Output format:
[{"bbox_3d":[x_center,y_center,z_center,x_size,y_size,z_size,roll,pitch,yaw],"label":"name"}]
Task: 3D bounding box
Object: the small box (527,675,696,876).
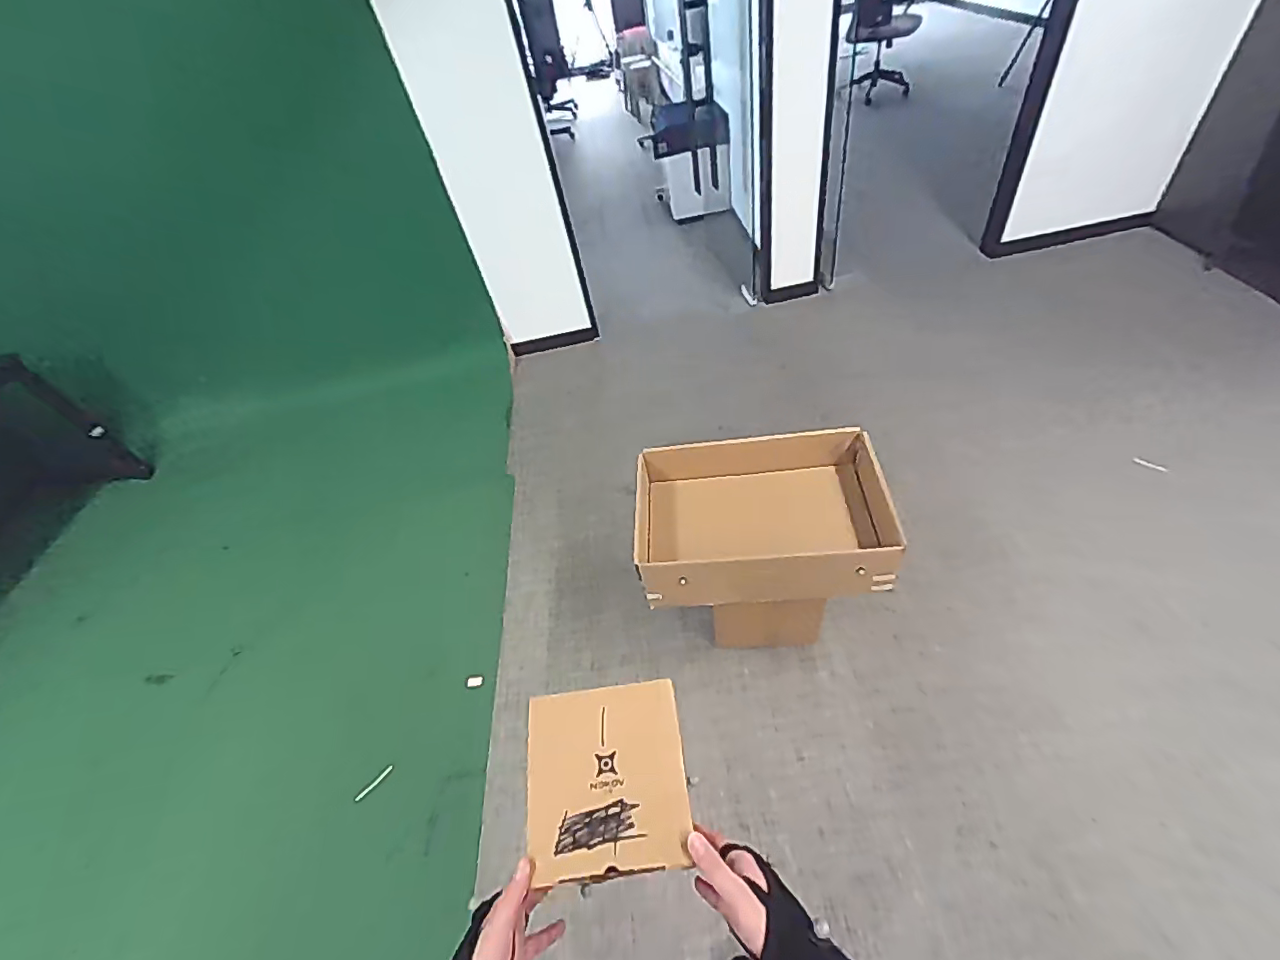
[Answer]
[{"bbox_3d":[-0.028,0.349,0.636,0.168,0.176,0.179,-8,53,2],"label":"small box"}]
